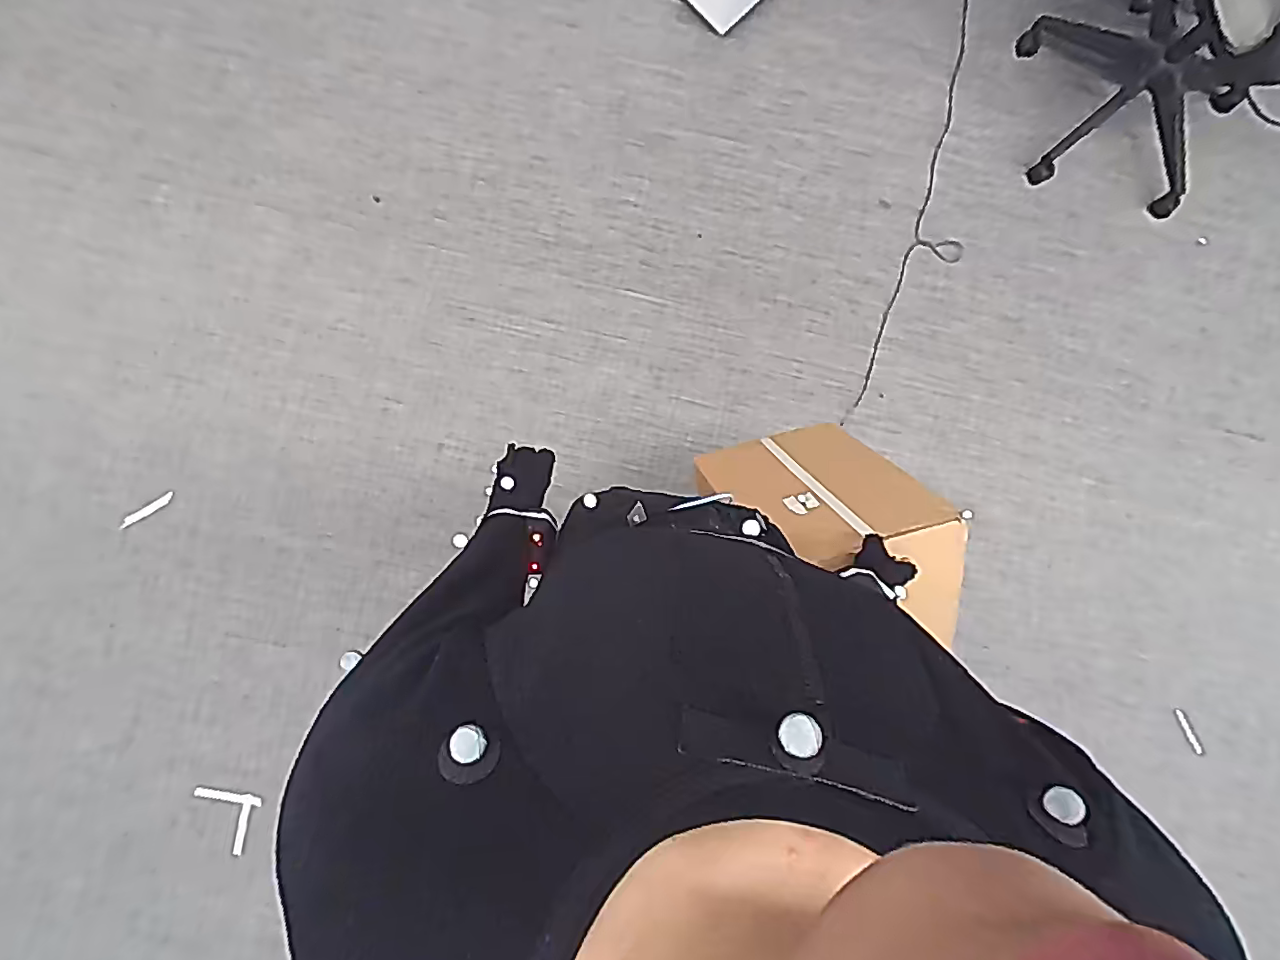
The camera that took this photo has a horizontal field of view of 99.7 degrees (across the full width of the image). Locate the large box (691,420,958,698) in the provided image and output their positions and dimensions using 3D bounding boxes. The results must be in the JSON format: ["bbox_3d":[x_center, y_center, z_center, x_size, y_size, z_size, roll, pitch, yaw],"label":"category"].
[{"bbox_3d":[0.316,0.127,1.041,0.320,0.408,0.320,-15,120,-5],"label":"large box"}]
